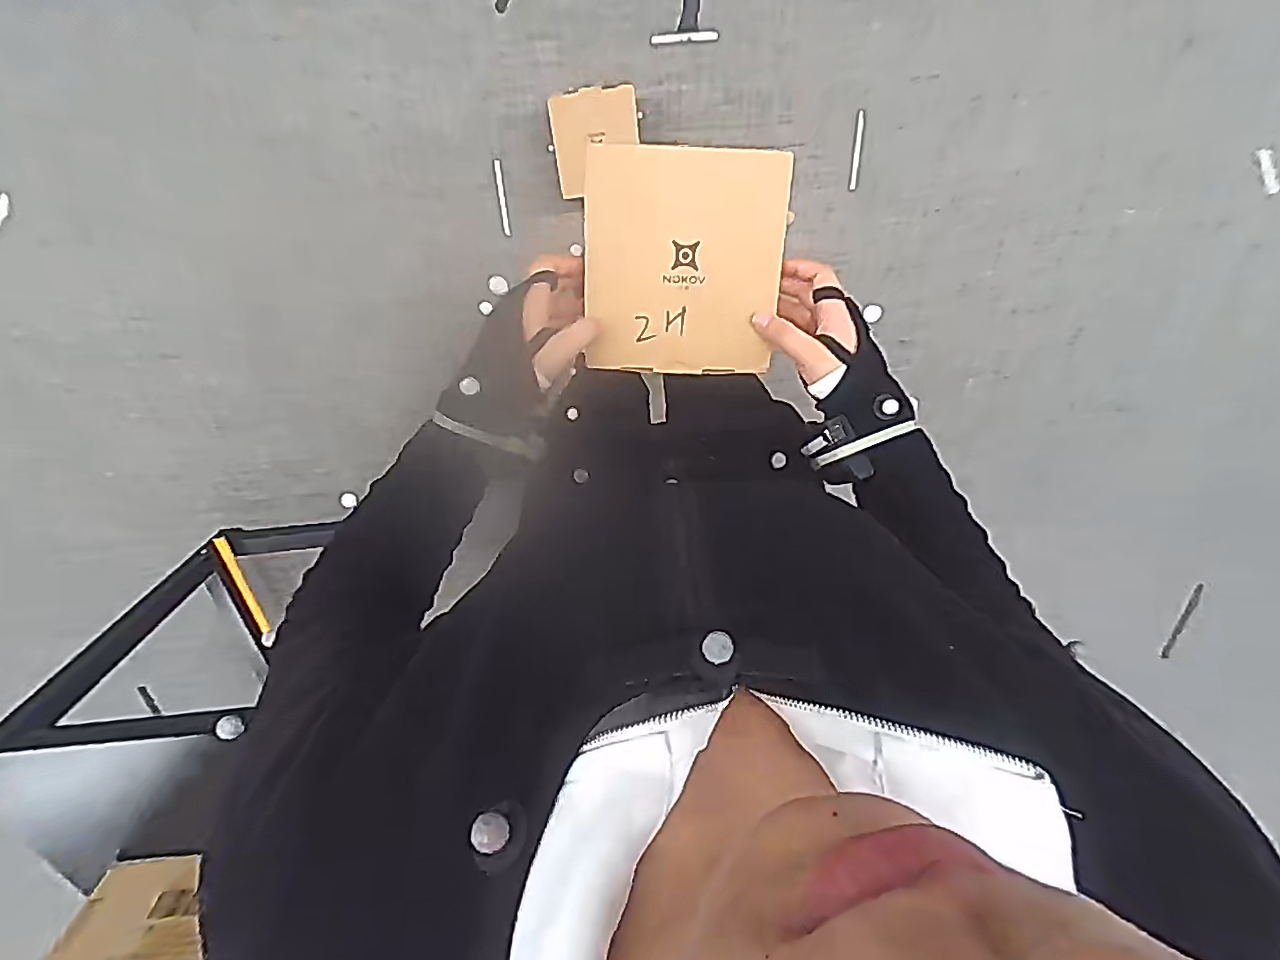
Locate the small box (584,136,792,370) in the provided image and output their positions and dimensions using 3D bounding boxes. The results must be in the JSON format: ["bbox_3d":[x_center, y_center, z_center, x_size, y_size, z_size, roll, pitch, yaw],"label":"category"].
[{"bbox_3d":[0.032,-0.209,0.522,0.168,0.176,0.179,1,111,-2],"label":"small box"}]

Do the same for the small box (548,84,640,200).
[{"bbox_3d":[-0.086,-0.679,1.102,0.168,0.176,0.179,-7,120,1],"label":"small box"}]
